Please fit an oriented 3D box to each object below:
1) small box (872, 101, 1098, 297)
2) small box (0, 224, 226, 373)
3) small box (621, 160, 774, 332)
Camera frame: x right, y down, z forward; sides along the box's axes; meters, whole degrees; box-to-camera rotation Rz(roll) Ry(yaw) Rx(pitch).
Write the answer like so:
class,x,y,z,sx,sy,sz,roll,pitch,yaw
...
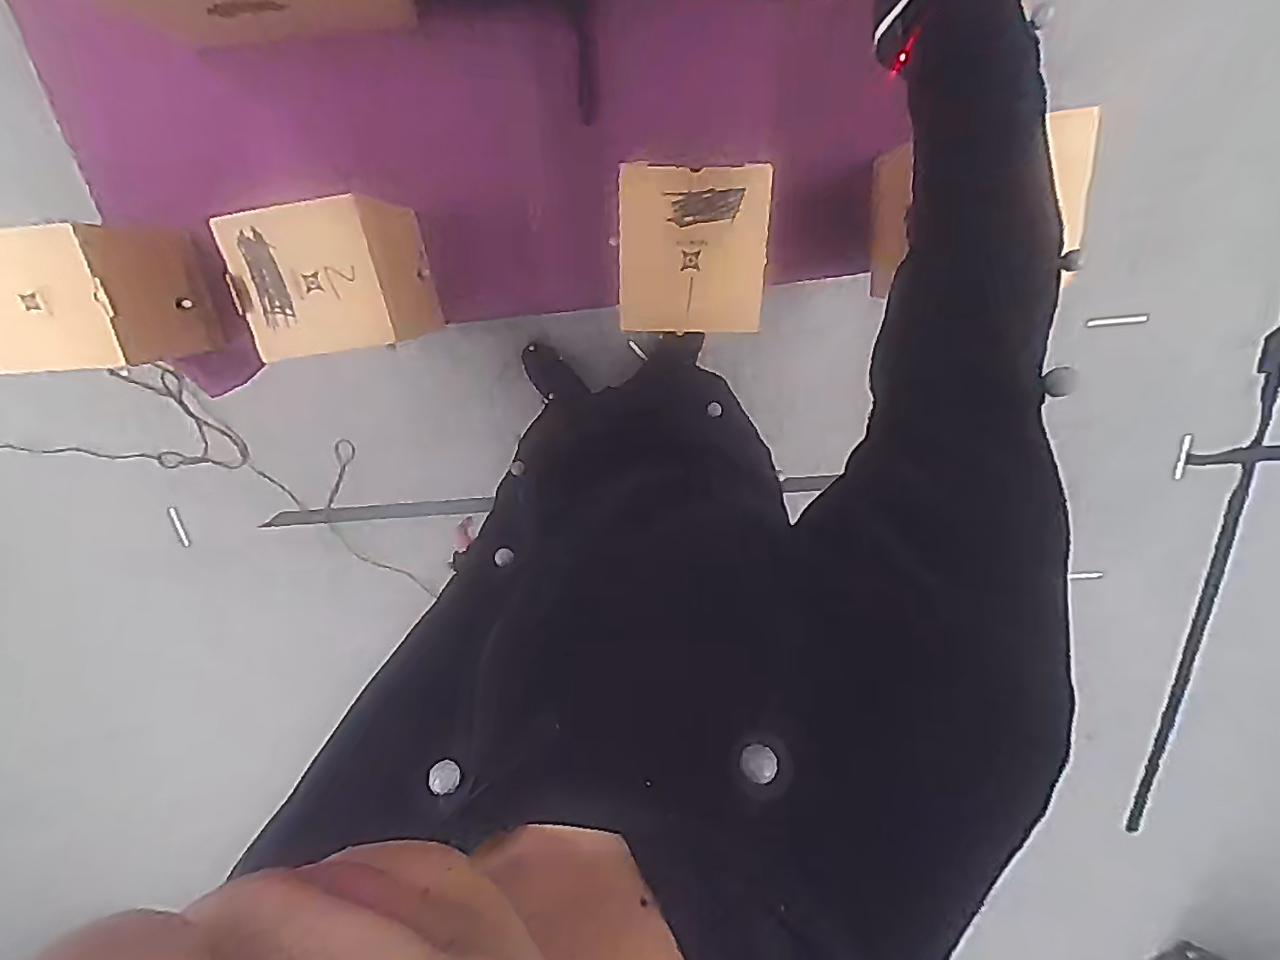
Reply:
class,x,y,z,sx,sy,sz,roll,pitch,yaw
small box,0.392,-0.321,0.651,0.168,0.176,0.179,-5,111,5
small box,-0.720,-0.242,0.726,0.179,0.176,0.168,-4,111,2
small box,0.062,-0.287,0.679,0.168,0.176,0.179,1,113,2
